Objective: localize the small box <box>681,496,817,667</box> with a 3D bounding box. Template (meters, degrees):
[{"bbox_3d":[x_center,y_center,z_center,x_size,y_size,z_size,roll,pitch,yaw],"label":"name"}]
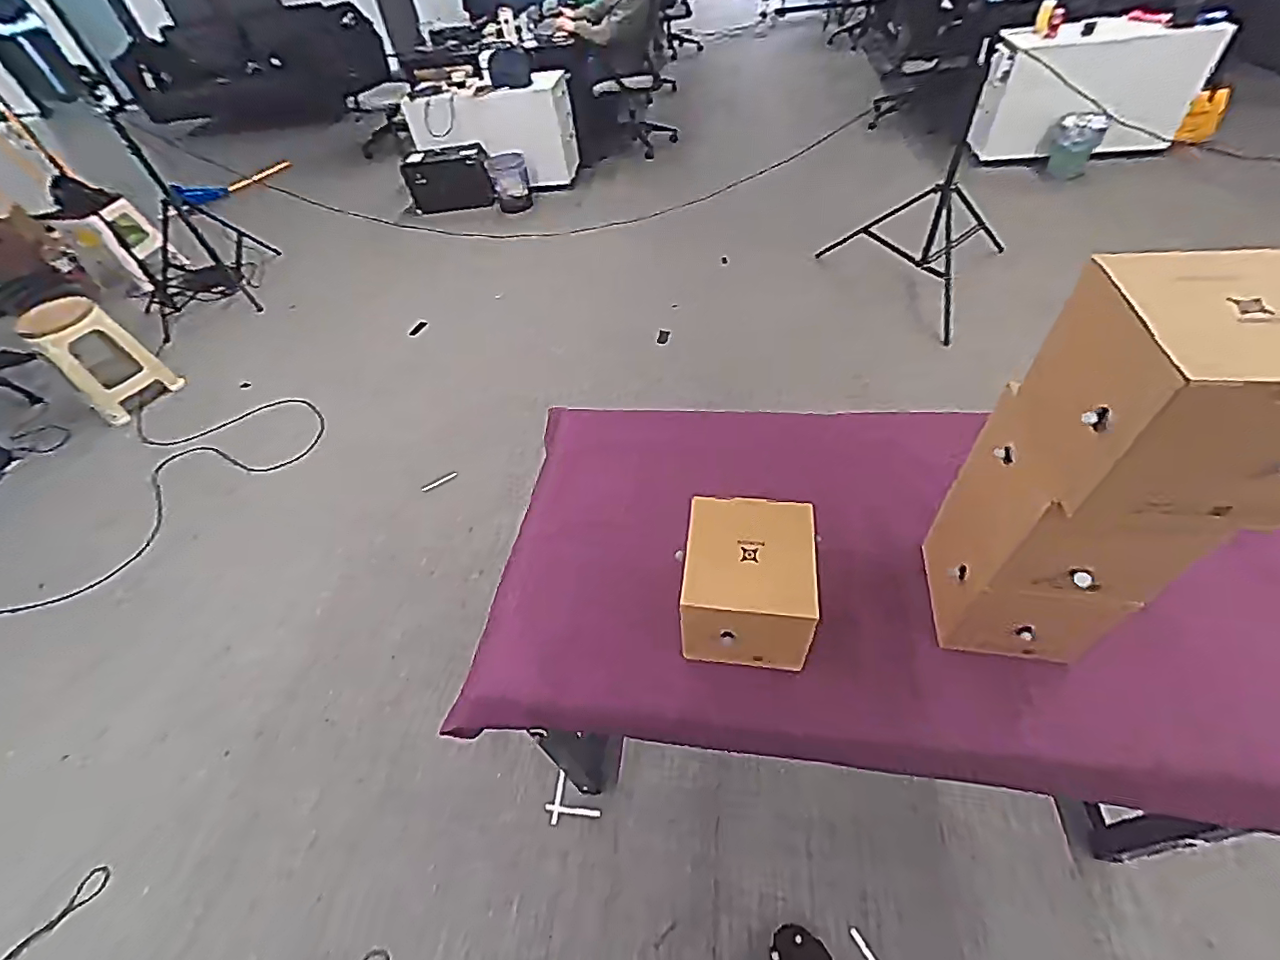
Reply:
[{"bbox_3d":[0.151,0.144,0.759,0.168,0.176,0.179,3,49,10],"label":"small box"}]

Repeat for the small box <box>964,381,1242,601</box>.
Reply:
[{"bbox_3d":[0.492,0.012,0.608,0.168,0.176,0.179,4,51,11],"label":"small box"}]

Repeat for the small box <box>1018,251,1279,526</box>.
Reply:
[{"bbox_3d":[0.474,-0.076,0.472,0.168,0.176,0.179,2,49,9],"label":"small box"}]

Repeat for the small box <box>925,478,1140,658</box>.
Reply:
[{"bbox_3d":[0.505,0.121,0.730,0.168,0.176,0.179,5,50,11],"label":"small box"}]
